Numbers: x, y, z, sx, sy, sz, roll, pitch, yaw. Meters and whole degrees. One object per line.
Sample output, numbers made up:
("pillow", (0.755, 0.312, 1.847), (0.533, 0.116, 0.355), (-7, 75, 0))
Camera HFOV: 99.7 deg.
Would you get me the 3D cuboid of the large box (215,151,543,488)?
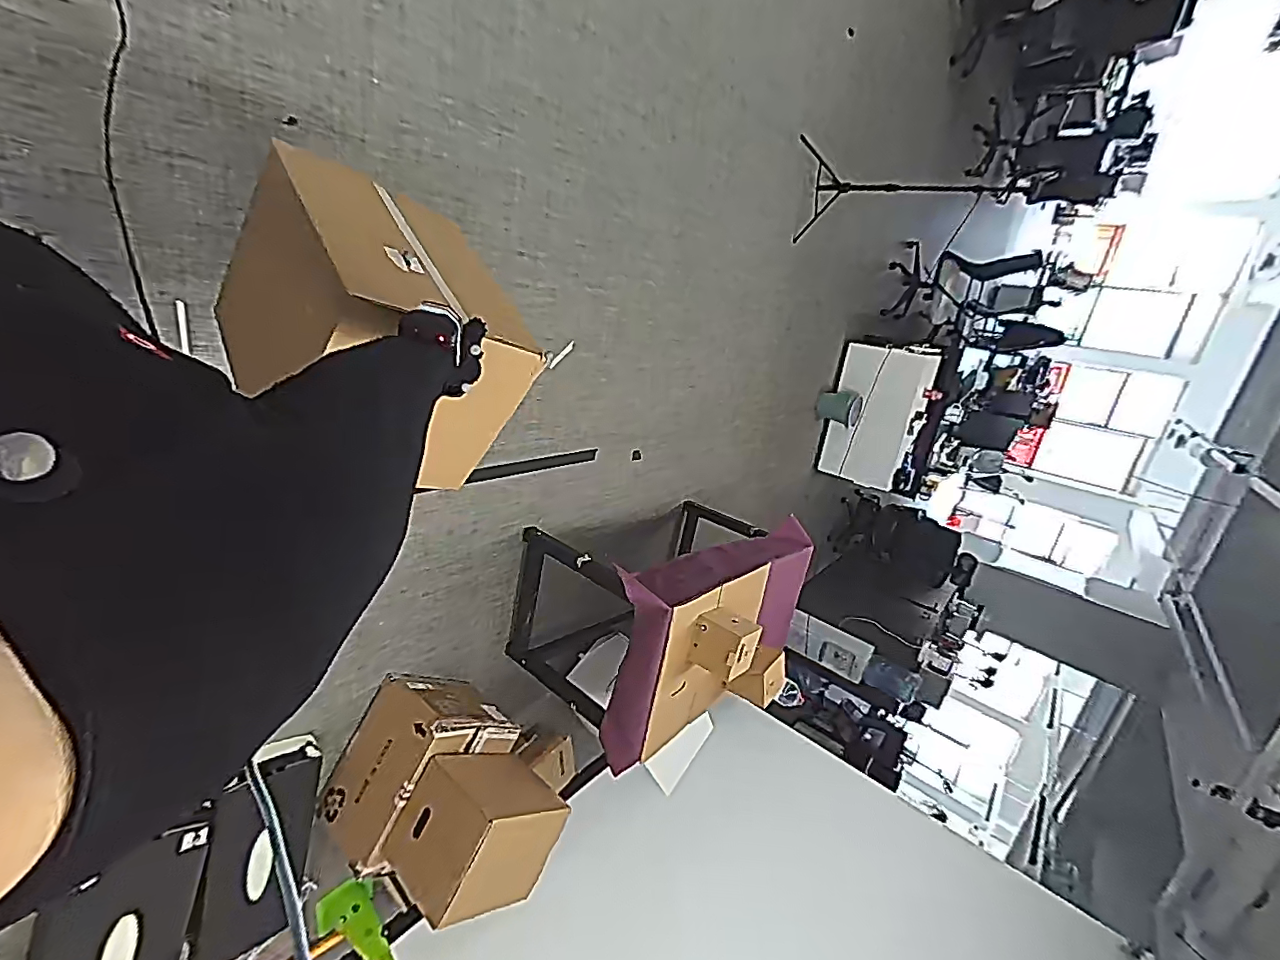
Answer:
("large box", (-0.443, -0.237, 0.901), (0.320, 0.408, 0.320), (-48, 152, 25))
